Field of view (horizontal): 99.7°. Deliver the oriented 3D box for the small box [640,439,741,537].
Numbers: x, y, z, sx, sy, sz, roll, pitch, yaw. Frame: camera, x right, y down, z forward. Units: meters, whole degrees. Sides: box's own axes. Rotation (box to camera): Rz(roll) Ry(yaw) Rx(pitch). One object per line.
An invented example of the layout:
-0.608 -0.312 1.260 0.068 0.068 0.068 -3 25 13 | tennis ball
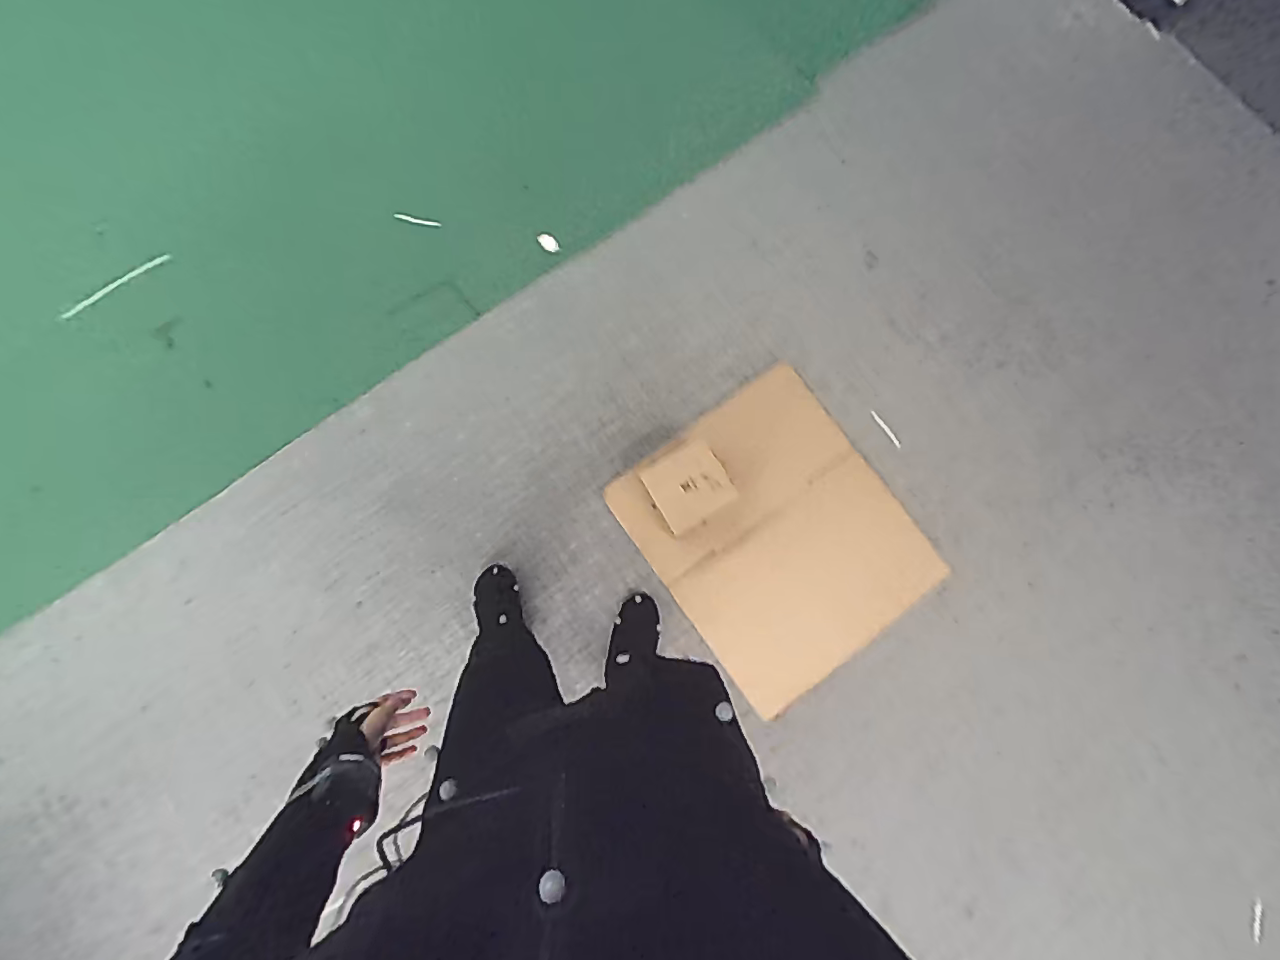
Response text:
0.115 0.027 1.293 0.179 0.176 0.168 -30 84 -4 | small box
